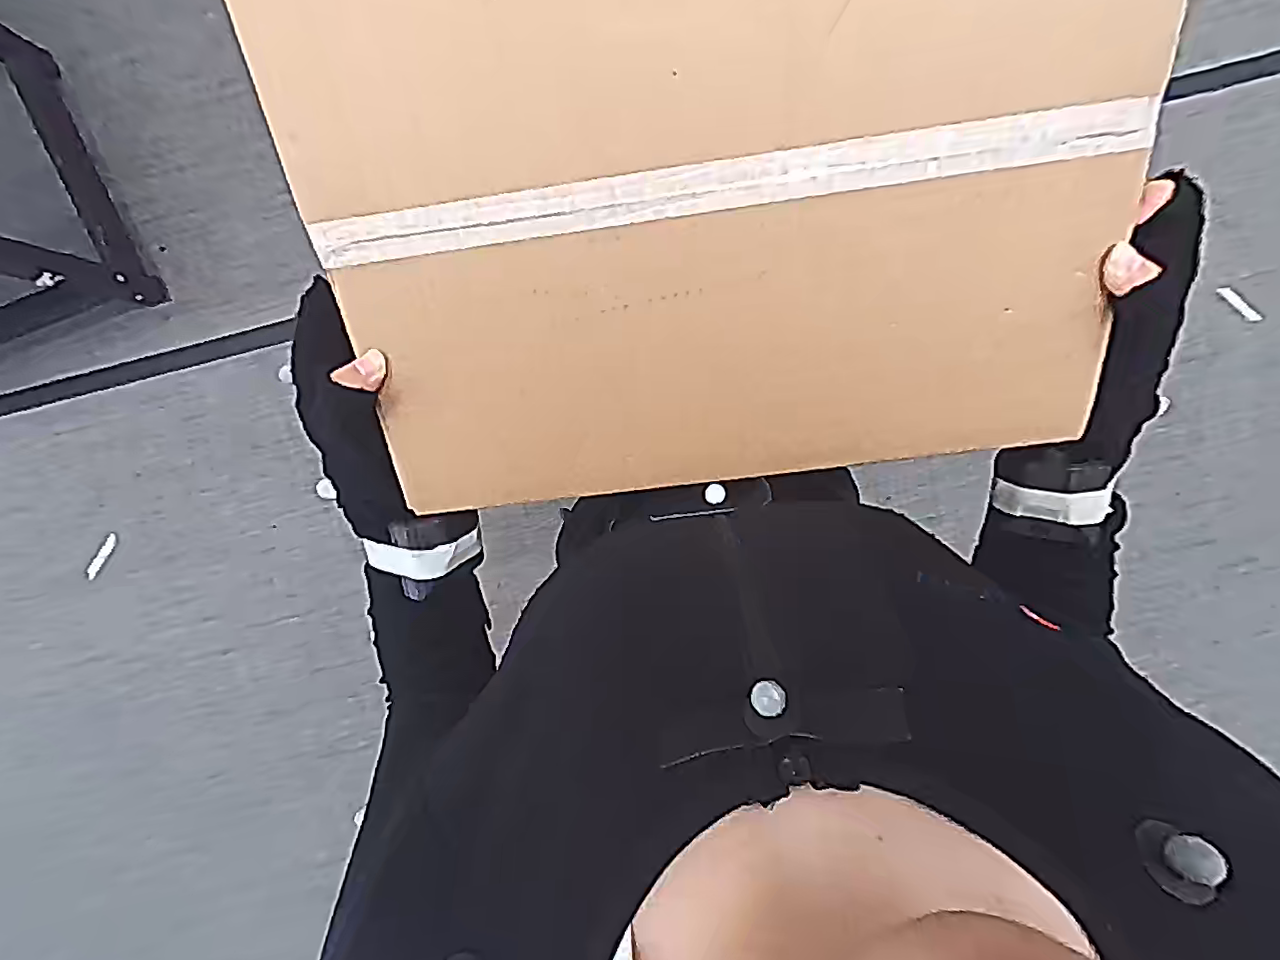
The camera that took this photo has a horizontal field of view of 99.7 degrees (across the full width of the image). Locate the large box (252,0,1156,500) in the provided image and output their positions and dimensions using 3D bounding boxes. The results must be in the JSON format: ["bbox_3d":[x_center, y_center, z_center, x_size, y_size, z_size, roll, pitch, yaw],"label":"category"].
[{"bbox_3d":[0.034,-0.210,0.406,0.408,0.320,0.320,-7,116,2],"label":"large box"}]
